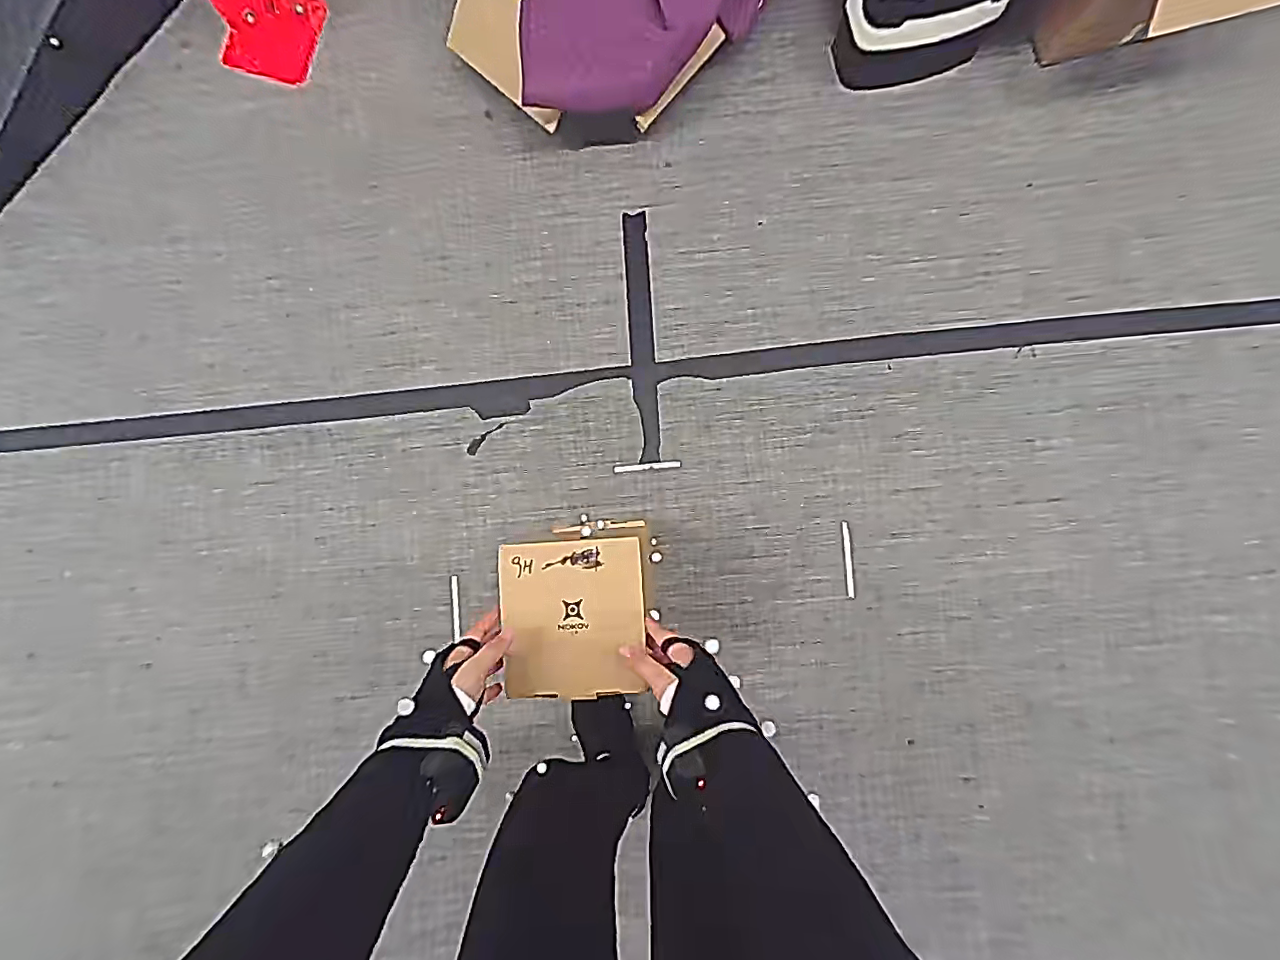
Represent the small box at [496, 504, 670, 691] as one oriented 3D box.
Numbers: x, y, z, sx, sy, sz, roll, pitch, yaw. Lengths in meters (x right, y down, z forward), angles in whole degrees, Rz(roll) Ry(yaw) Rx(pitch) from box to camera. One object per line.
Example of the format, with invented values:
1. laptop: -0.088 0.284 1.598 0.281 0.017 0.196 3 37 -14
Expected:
1. small box: -0.053 0.120 0.611 0.168 0.176 0.179 -4 87 3
